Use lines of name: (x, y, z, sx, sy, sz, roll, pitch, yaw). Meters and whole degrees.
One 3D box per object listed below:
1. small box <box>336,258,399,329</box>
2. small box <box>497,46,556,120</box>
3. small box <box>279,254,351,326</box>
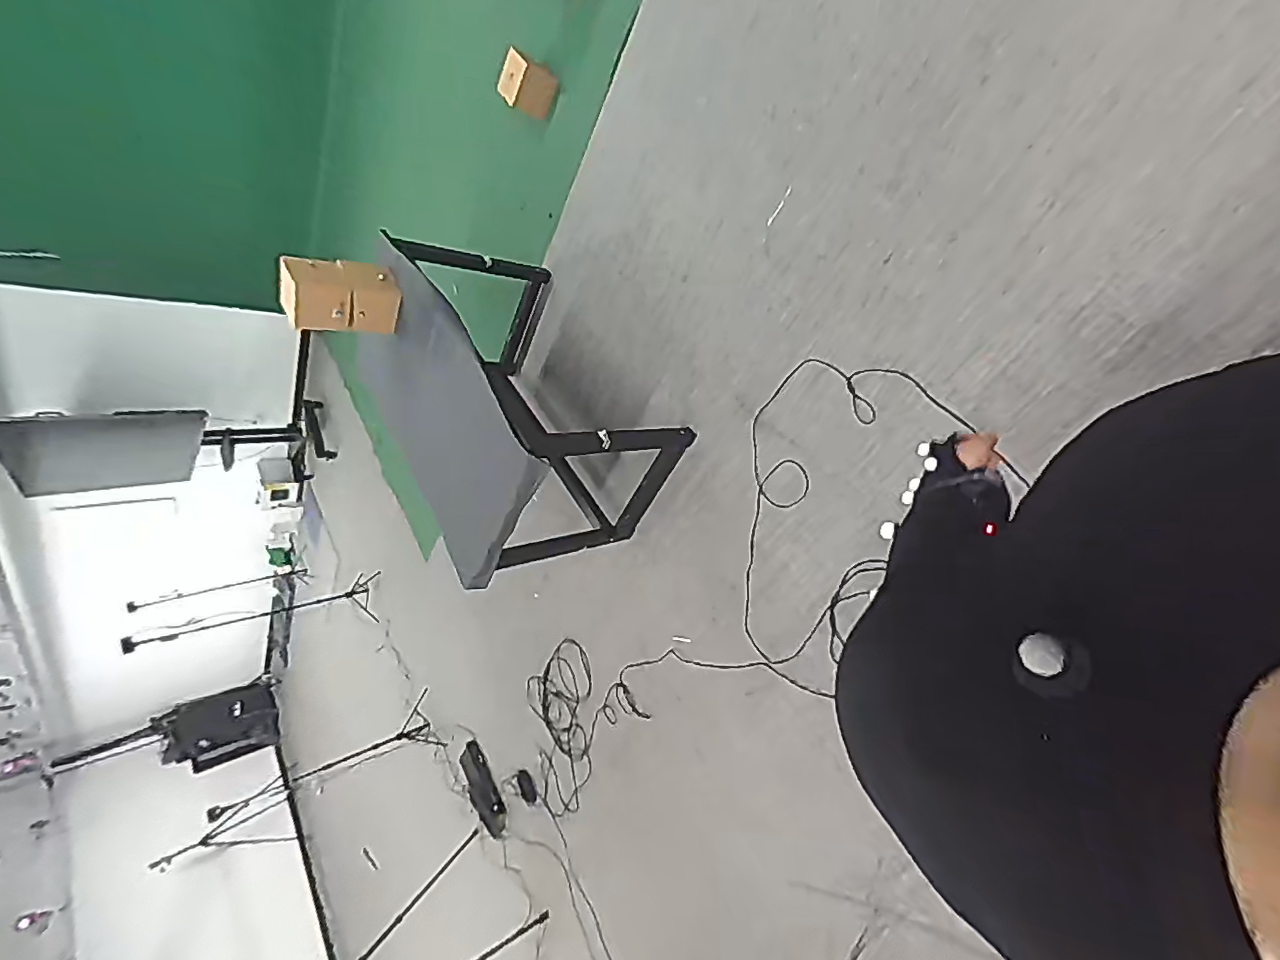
small box: (-0.974, -0.654, 1.918, 0.168, 0.176, 0.179, 56, 132, 23)
small box: (-0.484, -1.702, 2.327, 0.179, 0.176, 0.168, -51, 60, 37)
small box: (-1.086, -0.626, 1.803, 0.179, 0.176, 0.168, 49, 130, 27)
